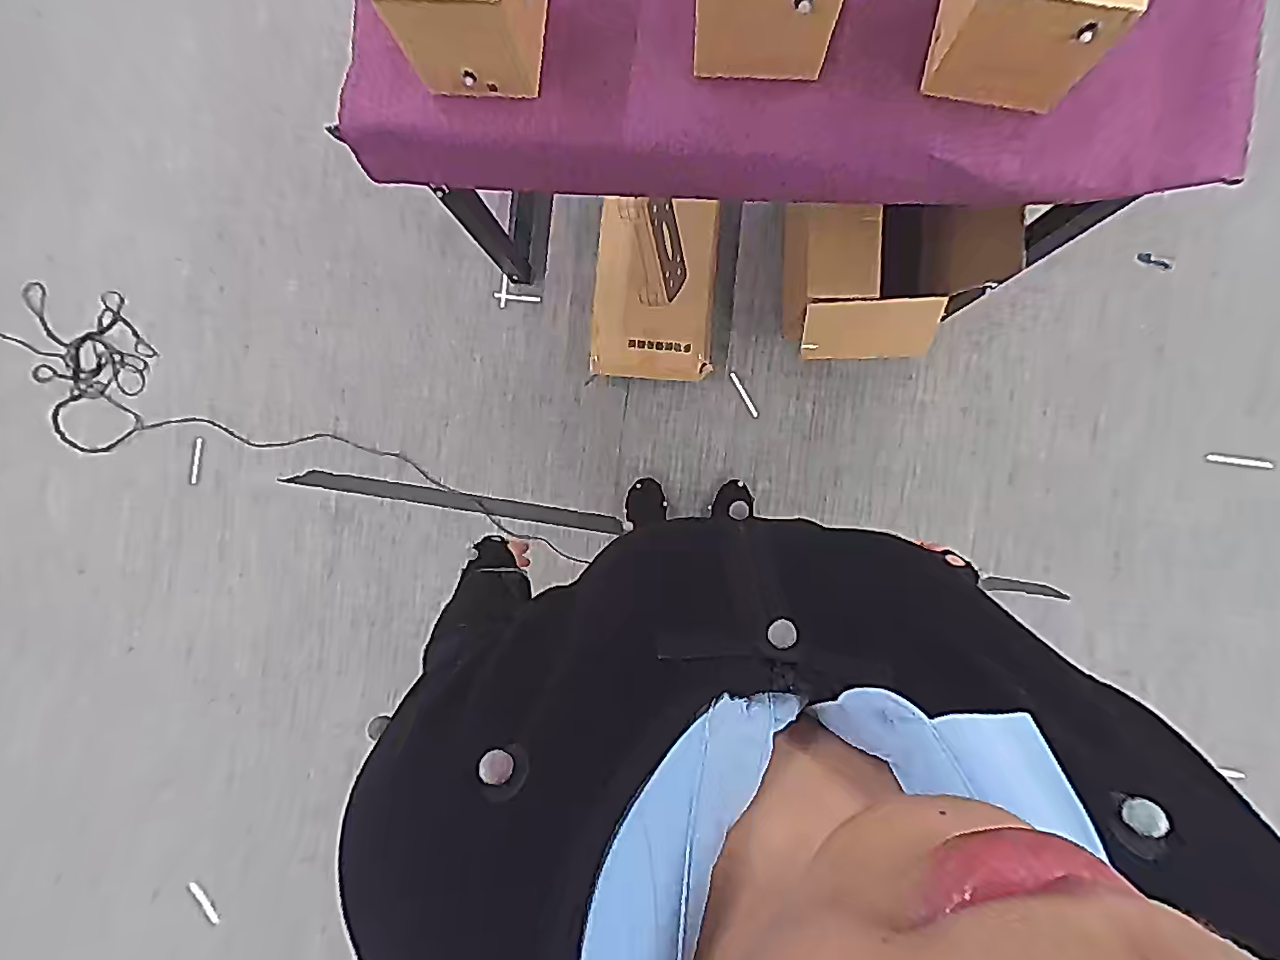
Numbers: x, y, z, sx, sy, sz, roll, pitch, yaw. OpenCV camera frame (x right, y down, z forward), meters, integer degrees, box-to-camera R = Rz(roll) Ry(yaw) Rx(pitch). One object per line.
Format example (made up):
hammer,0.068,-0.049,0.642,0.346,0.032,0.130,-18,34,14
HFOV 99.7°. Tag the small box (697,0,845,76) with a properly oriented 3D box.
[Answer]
small box,0.169,-0.649,0.680,0.179,0.176,0.168,5,88,5

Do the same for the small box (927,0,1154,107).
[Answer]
small box,0.482,-0.595,0.656,0.179,0.176,0.168,13,91,4
